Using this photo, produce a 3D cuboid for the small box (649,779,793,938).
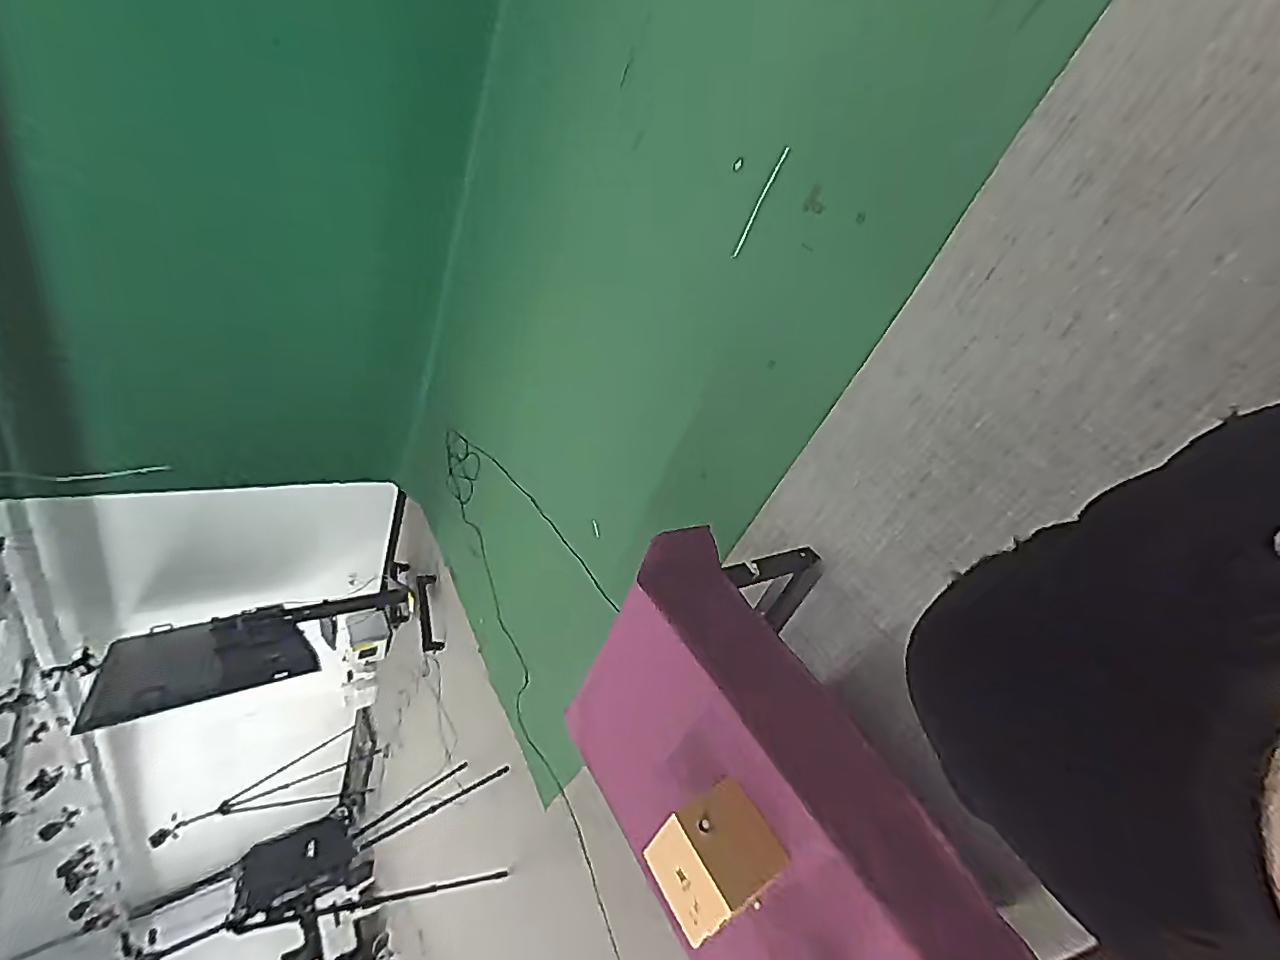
[{"bbox_3d":[0.154,0.712,1.040,0.179,0.176,0.168,48,129,36],"label":"small box"}]
